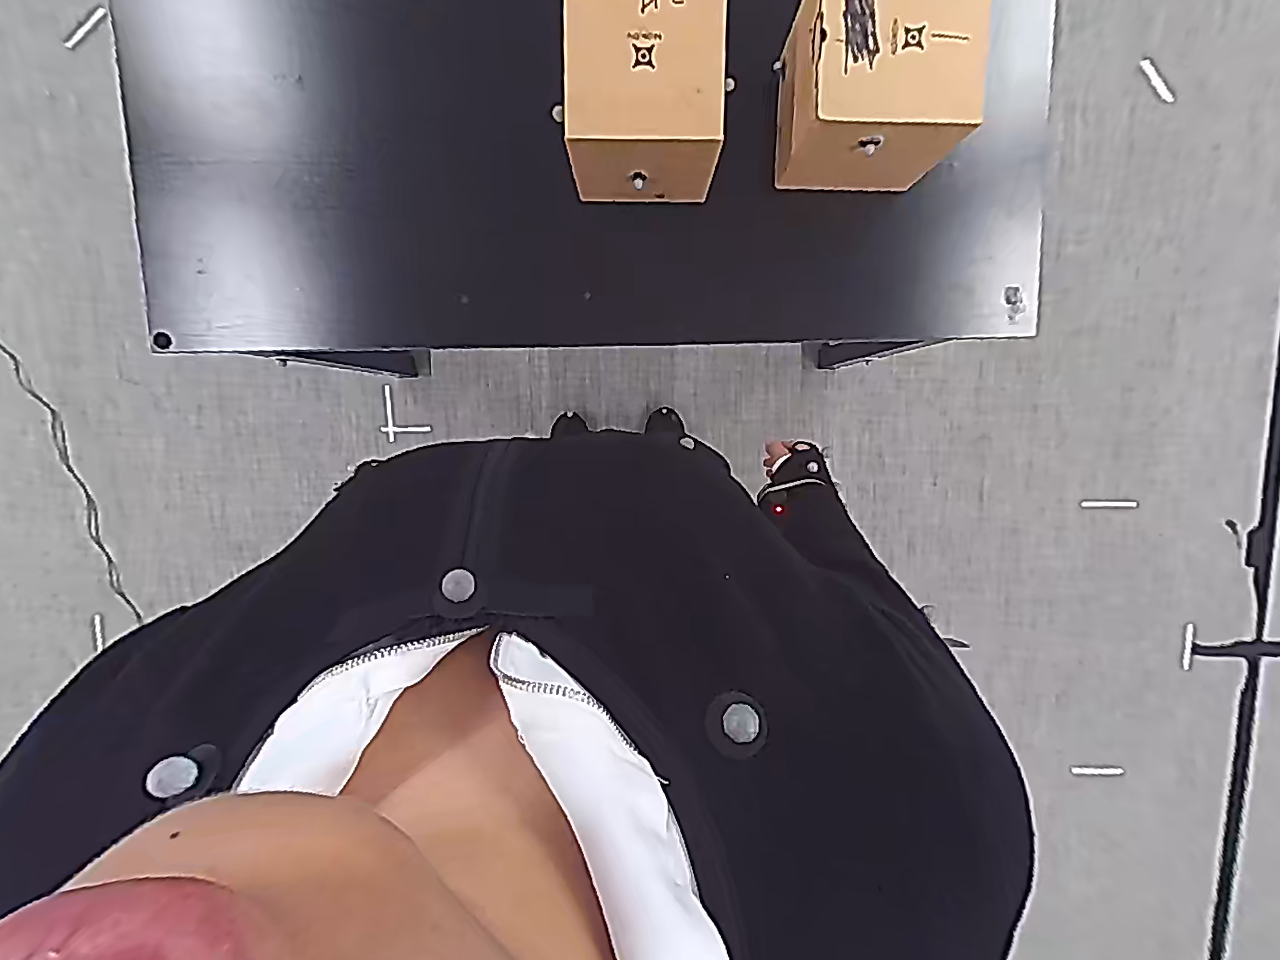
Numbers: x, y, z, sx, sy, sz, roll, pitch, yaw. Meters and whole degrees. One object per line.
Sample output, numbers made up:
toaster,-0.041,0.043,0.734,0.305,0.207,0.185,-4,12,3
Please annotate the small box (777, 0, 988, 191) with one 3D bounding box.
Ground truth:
small box,0.268,-0.460,0.636,0.179,0.176,0.168,1,96,-1

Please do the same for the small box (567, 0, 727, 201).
small box,0.007,-0.449,0.638,0.168,0.176,0.179,1,96,-1
